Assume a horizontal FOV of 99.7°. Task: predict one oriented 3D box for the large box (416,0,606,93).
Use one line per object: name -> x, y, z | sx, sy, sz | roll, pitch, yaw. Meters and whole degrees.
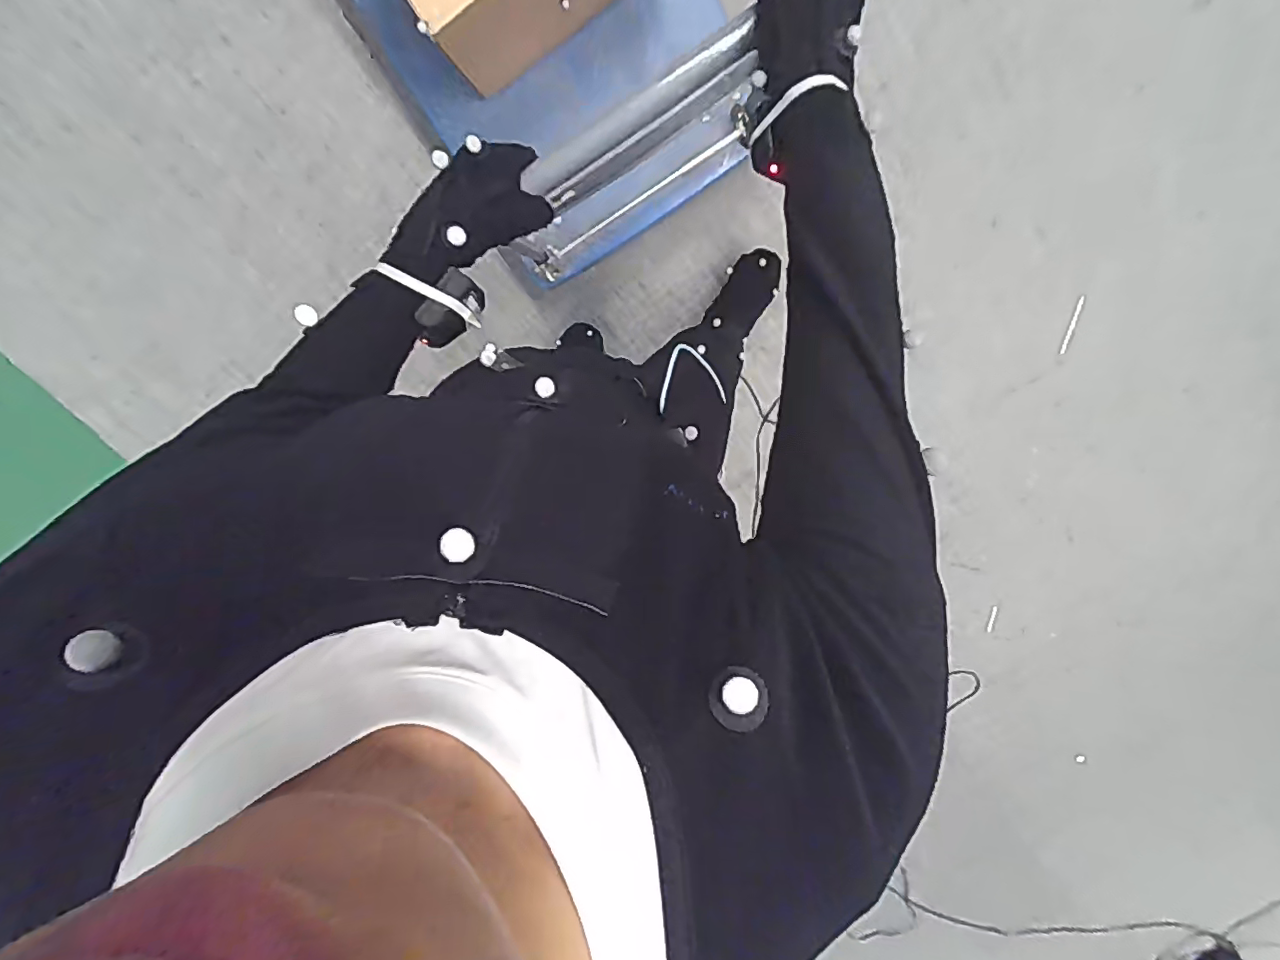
large box -> -0.204, -0.912, 0.833 | 0.408, 0.320, 0.320 | -31, 108, 11
